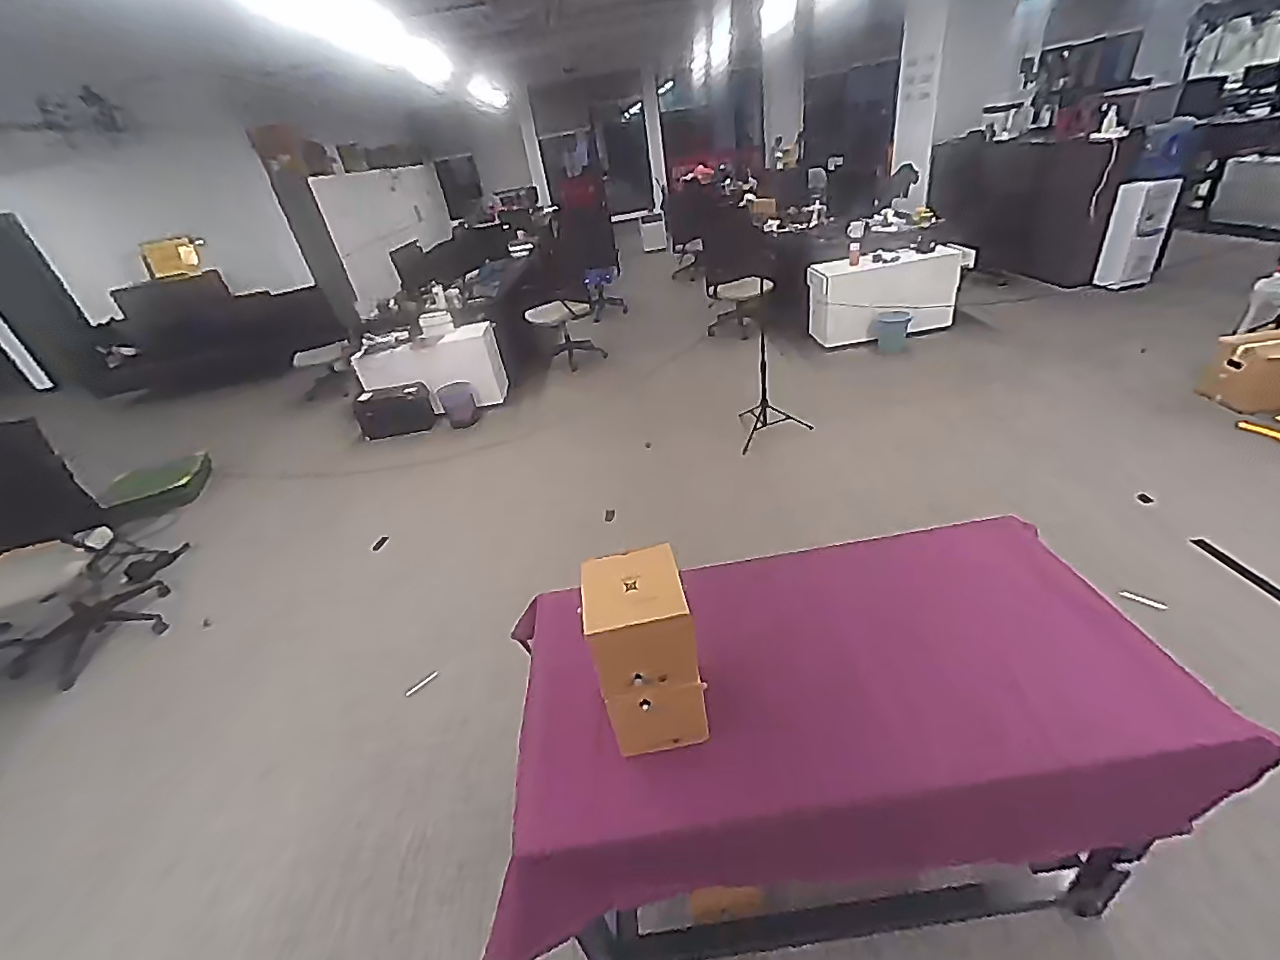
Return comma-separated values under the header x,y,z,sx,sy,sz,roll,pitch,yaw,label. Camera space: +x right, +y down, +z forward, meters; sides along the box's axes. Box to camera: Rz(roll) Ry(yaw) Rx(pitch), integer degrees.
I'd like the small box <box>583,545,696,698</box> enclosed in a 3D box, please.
x,y,z,sx,sy,sz,roll,pitch,yaw,label
-0.003,0.241,0.933,0.168,0.176,0.179,-11,32,-1,small box

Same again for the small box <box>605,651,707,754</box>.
x,y,z,sx,sy,sz,roll,pitch,yaw,label
0.026,0.378,1.017,0.168,0.176,0.179,-10,32,0,small box
